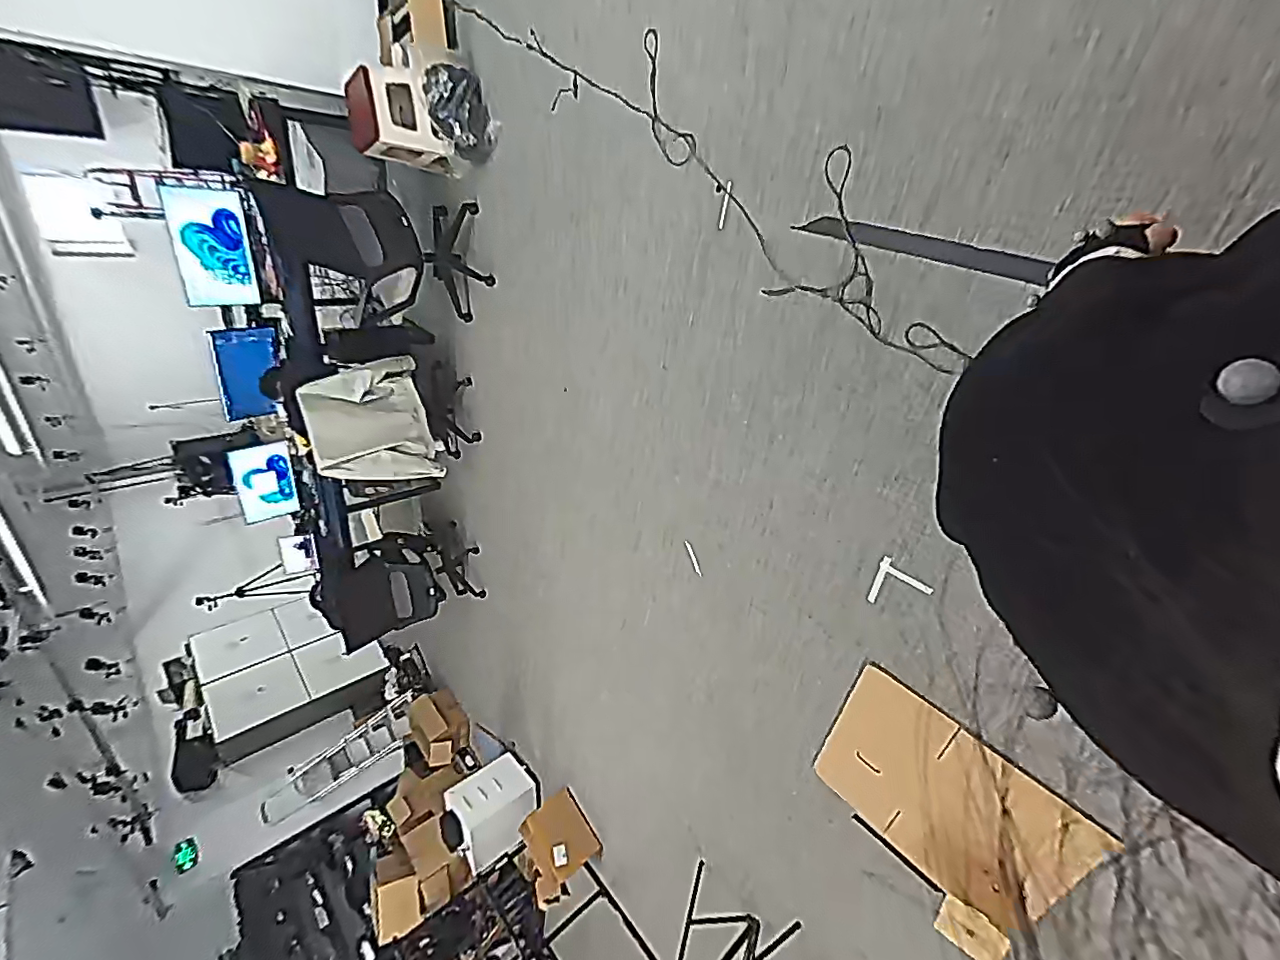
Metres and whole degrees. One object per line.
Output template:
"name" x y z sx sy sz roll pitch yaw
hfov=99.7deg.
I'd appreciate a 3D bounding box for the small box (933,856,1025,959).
"small box" 0.994 1.268 1.582 0.168 0.176 0.179 24 121 41
